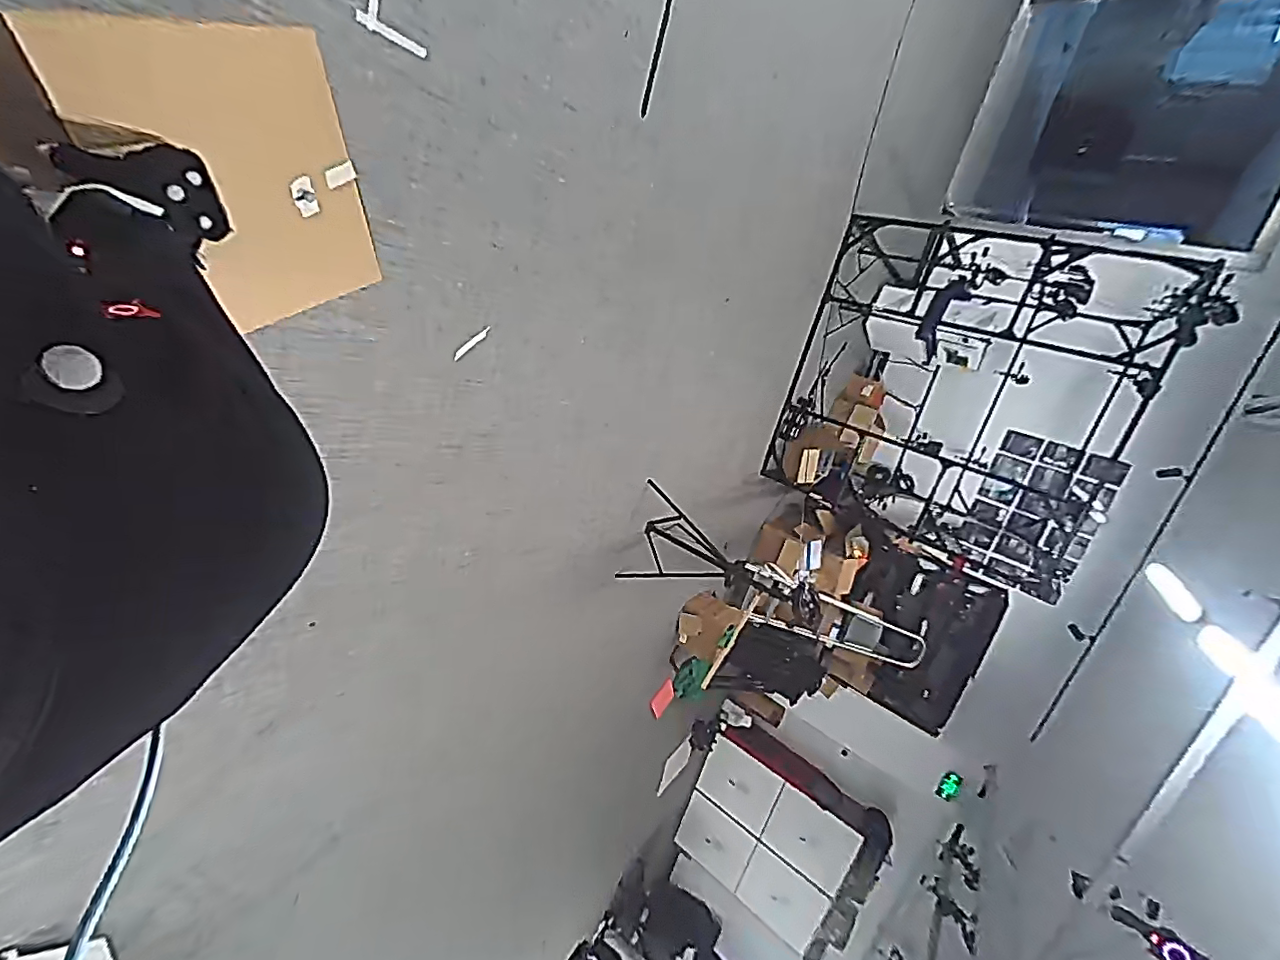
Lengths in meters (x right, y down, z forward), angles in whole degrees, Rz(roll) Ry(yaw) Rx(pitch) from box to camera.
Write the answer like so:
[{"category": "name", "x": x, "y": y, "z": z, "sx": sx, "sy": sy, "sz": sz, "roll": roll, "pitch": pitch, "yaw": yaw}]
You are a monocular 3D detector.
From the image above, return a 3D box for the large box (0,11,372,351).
[{"category": "large box", "x": -0.657, "y": -0.403, "z": 0.719, "sx": 0.320, "sy": 0.408, "sz": 0.320, "roll": -52, "pitch": 152, "yaw": -47}]
